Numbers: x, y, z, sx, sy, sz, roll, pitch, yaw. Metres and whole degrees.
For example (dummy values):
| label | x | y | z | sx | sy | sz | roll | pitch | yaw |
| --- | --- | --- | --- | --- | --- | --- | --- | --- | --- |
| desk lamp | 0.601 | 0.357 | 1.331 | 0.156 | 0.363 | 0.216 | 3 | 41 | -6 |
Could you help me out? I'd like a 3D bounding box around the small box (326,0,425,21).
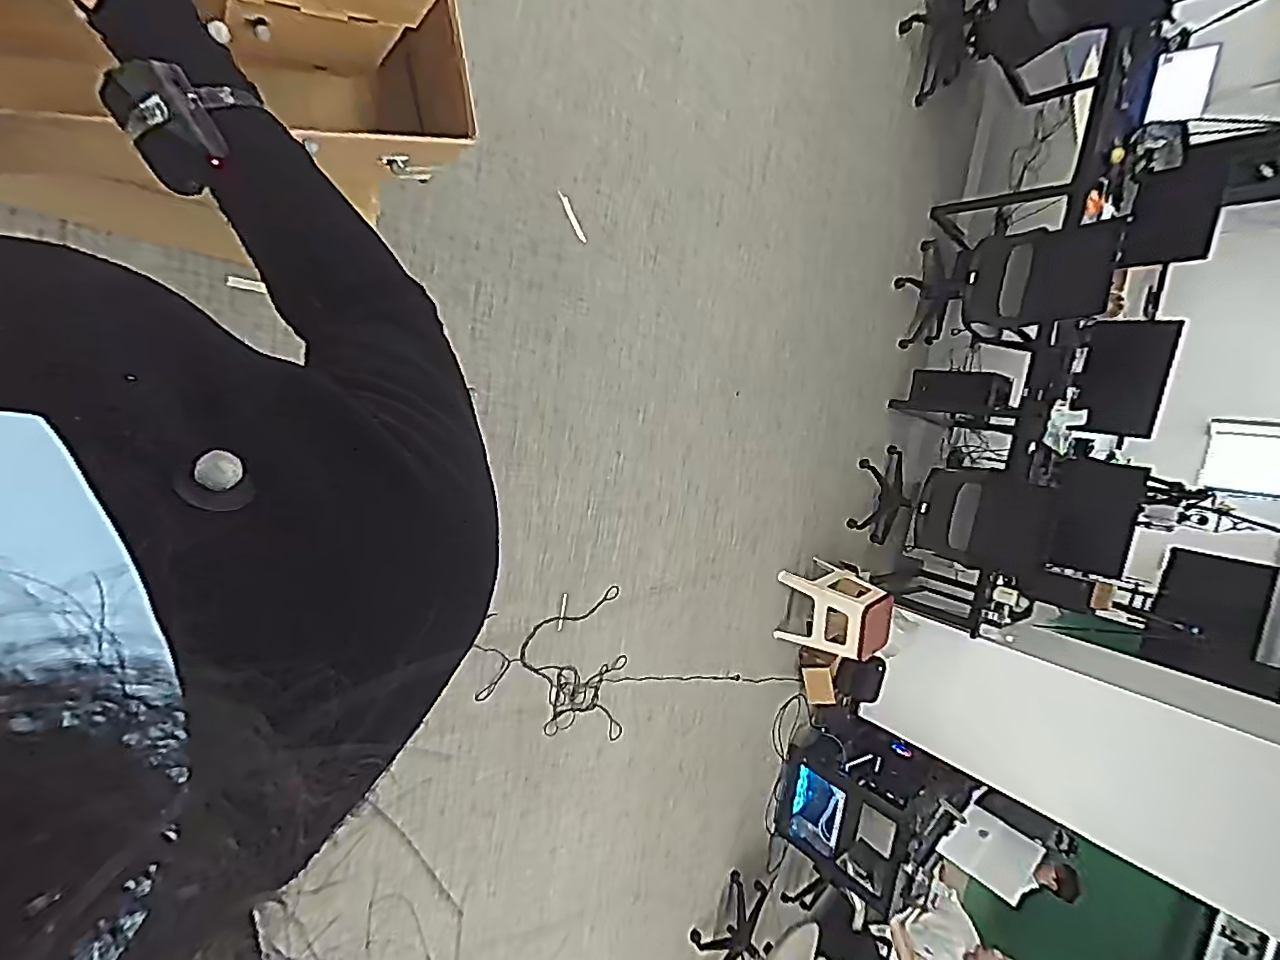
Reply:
| label | x | y | z | sx | sy | sz | roll | pitch | yaw |
| --- | --- | --- | --- | --- | --- | --- | --- | --- | --- |
| small box | -0.267 | -0.541 | 0.463 | 0.179 | 0.176 | 0.168 | -16 | 112 | -38 |
